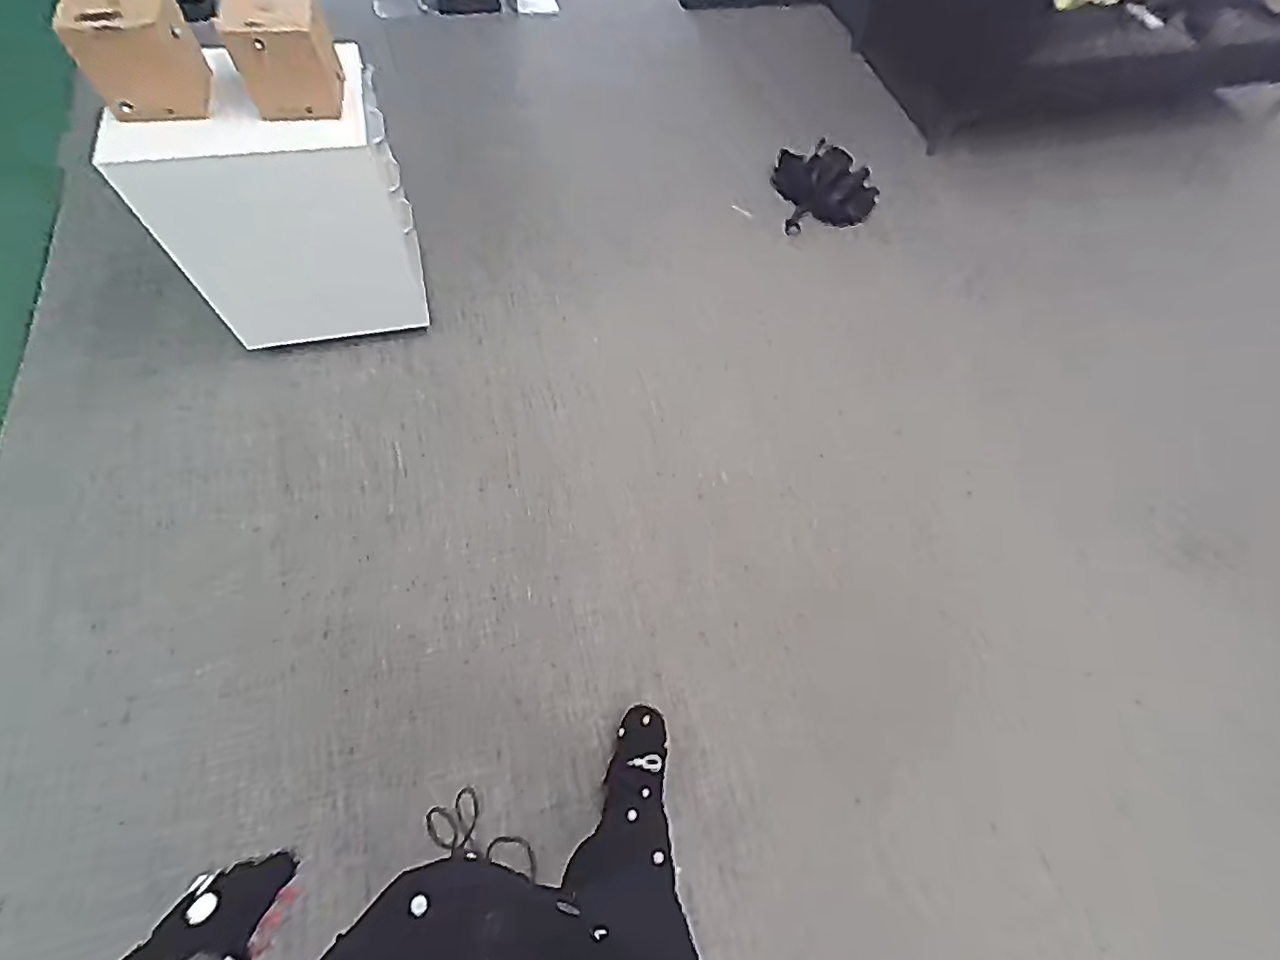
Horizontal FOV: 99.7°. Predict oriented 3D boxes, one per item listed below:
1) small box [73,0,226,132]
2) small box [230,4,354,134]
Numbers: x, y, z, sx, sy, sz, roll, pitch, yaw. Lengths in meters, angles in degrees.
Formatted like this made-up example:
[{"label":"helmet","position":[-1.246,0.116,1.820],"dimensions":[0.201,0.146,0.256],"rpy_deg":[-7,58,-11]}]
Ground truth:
[{"label":"small box","position":[-0.997,-0.848,1.118],"dimensions":[0.168,0.176,0.179],"rpy_deg":[-10,64,-12]},{"label":"small box","position":[-0.733,-0.878,1.161],"dimensions":[0.168,0.176,0.179],"rpy_deg":[-8,64,-9]}]
